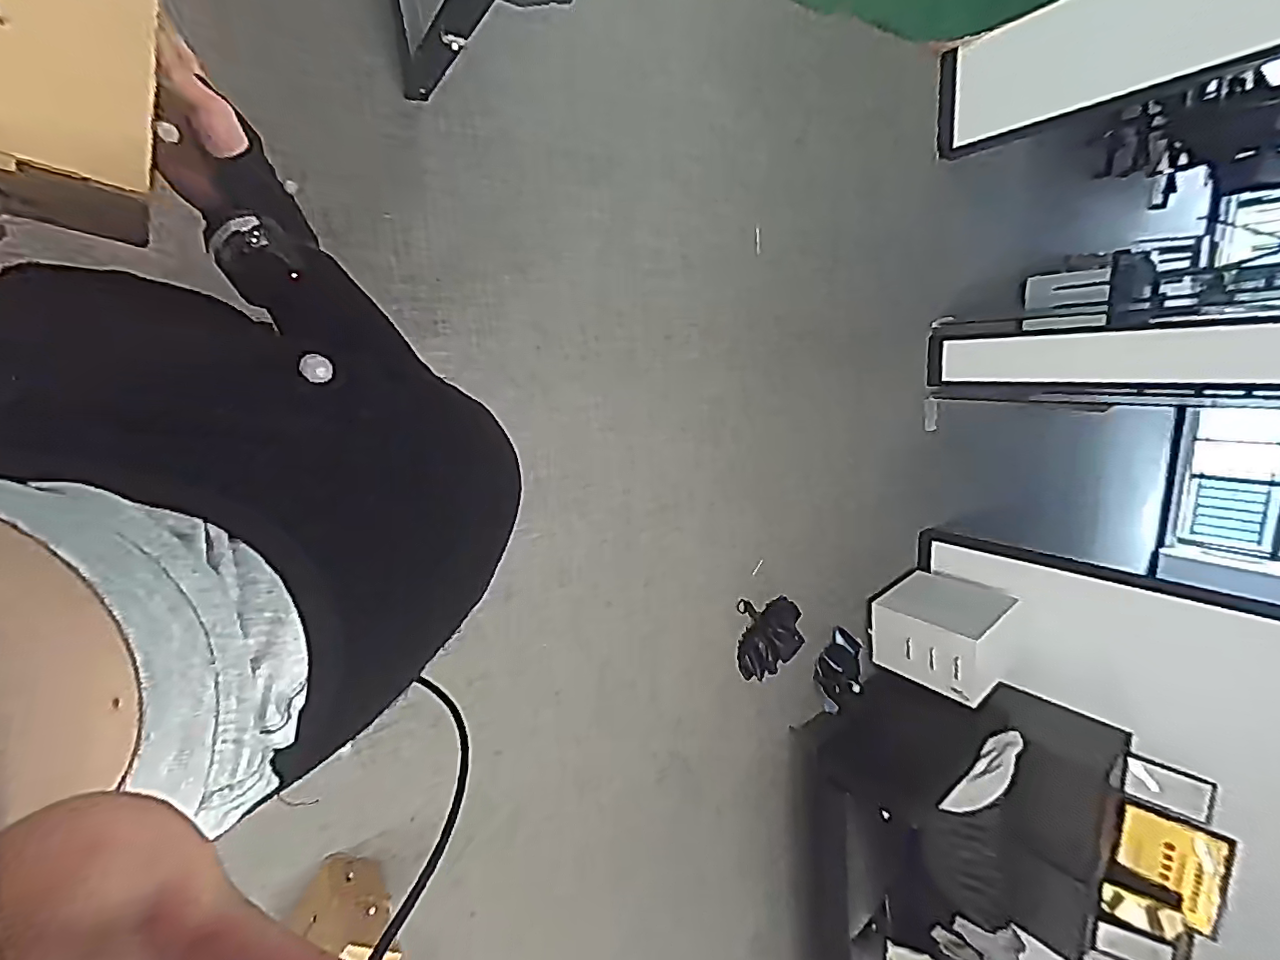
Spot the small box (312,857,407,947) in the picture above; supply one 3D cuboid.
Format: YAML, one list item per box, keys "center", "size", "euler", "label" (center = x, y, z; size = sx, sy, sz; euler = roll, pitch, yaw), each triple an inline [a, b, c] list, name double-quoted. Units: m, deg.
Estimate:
- center: [-0.792, 1.200, 1.515]
  size: [0.168, 0.176, 0.179]
  euler: [36, 77, -35]
  label: "small box"

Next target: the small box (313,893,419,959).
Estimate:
- center: [-0.704, 1.211, 1.375]
  size: [0.168, 0.176, 0.179]
  euler: [45, 70, -33]
  label: "small box"

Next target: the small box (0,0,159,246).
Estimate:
- center: [-0.435, -0.276, 0.362]
  size: [0.168, 0.176, 0.179]
  euler: [1, 97, -42]
  label: "small box"
